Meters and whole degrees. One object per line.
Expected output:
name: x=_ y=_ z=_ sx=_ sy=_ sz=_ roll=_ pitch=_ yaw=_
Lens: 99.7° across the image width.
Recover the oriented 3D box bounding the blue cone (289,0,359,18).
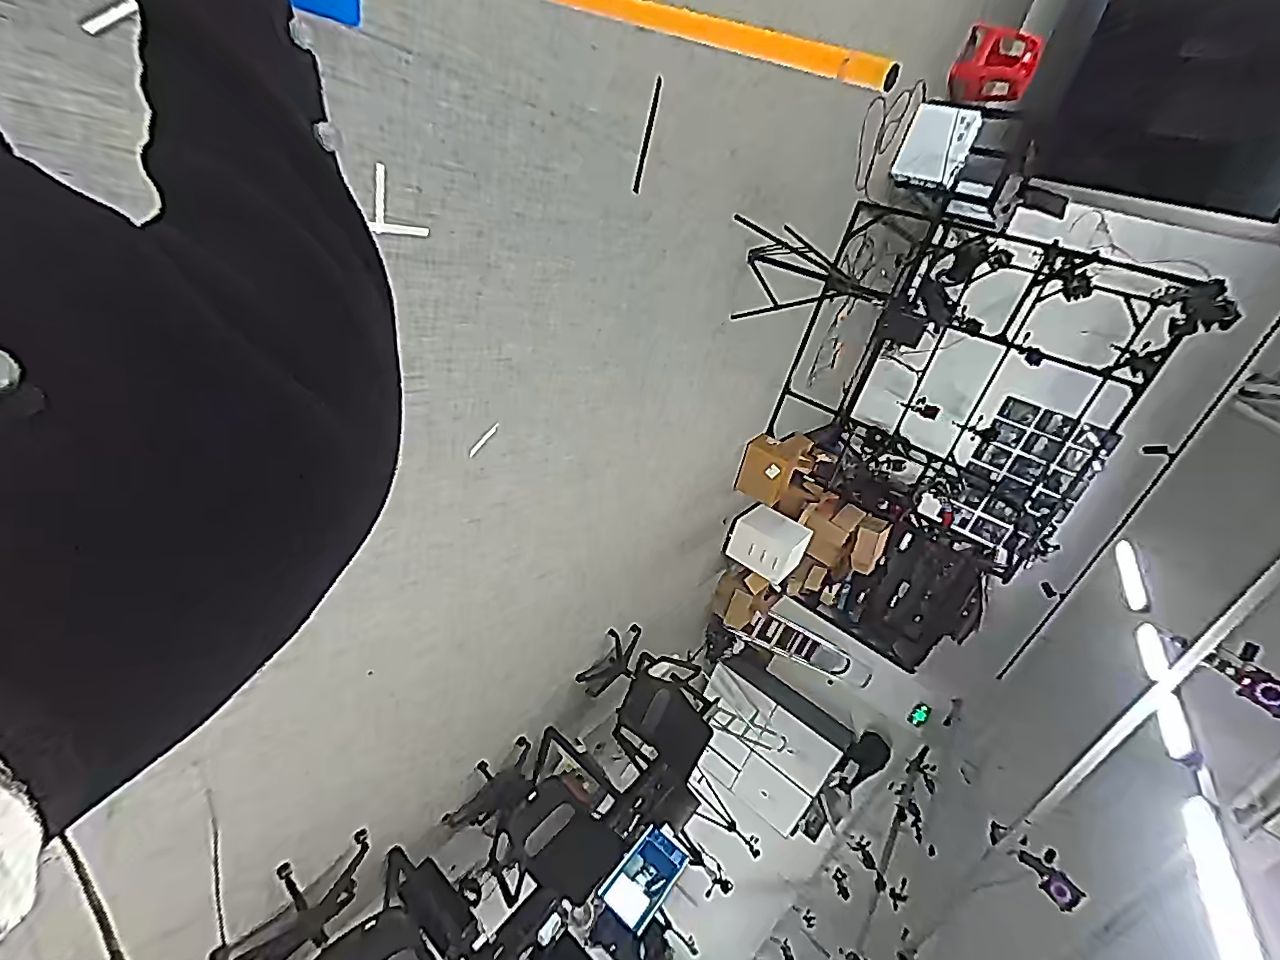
blue cone: x=-0.510 y=-0.955 z=0.966 sx=0.193 sy=0.380 sz=0.192 roll=-25 pitch=136 yaw=-49
